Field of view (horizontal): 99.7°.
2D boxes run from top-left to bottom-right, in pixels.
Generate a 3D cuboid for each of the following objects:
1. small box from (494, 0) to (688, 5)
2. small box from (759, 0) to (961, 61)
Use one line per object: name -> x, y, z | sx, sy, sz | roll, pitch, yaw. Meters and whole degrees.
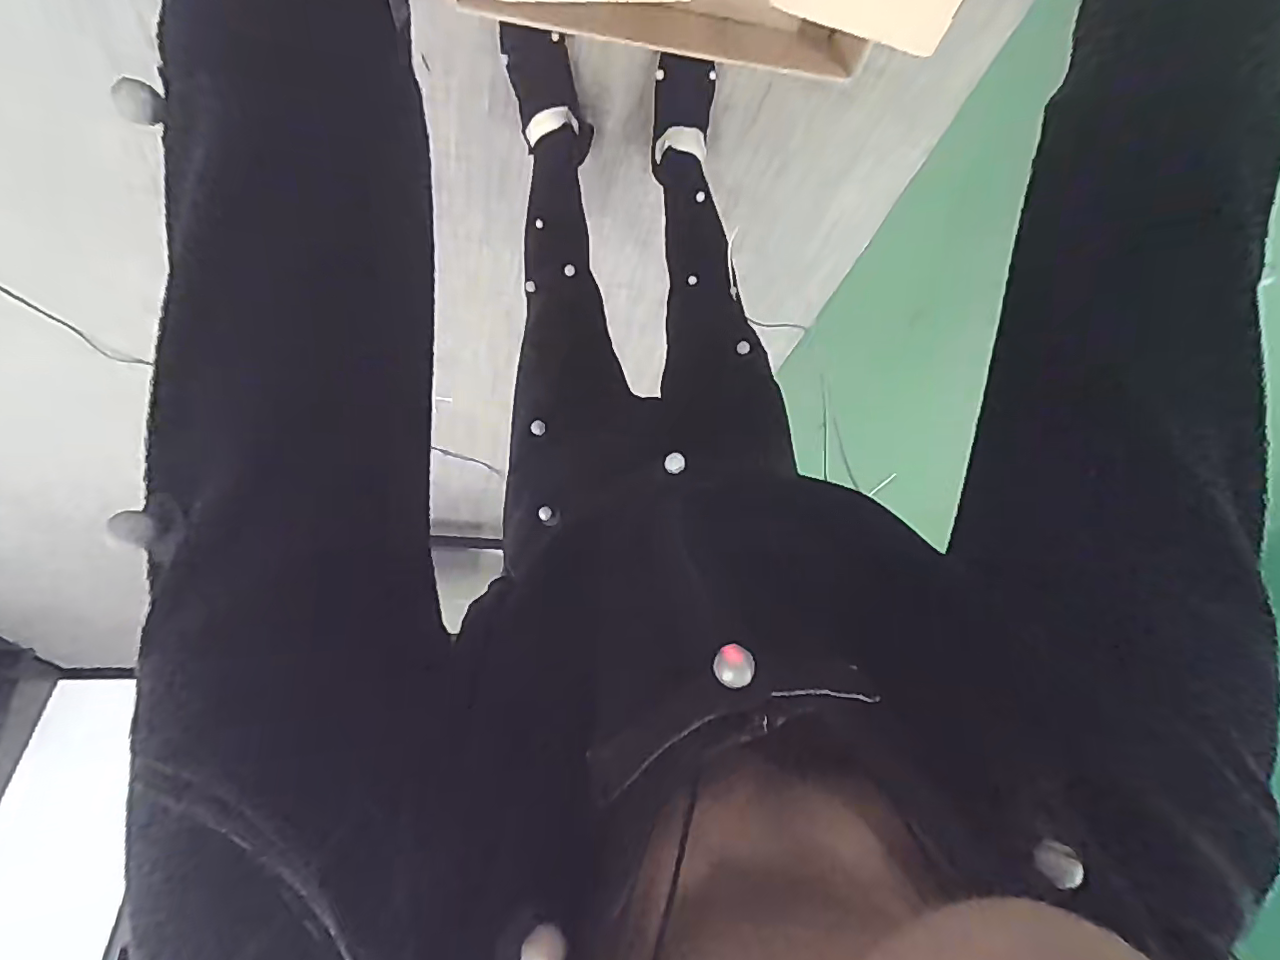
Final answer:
small box -> -0.045, -0.525, 0.440 | 0.179, 0.176, 0.168 | -3, 149, -3
small box -> 0.206, -0.519, 0.474 | 0.179, 0.176, 0.168 | 5, 147, -15
